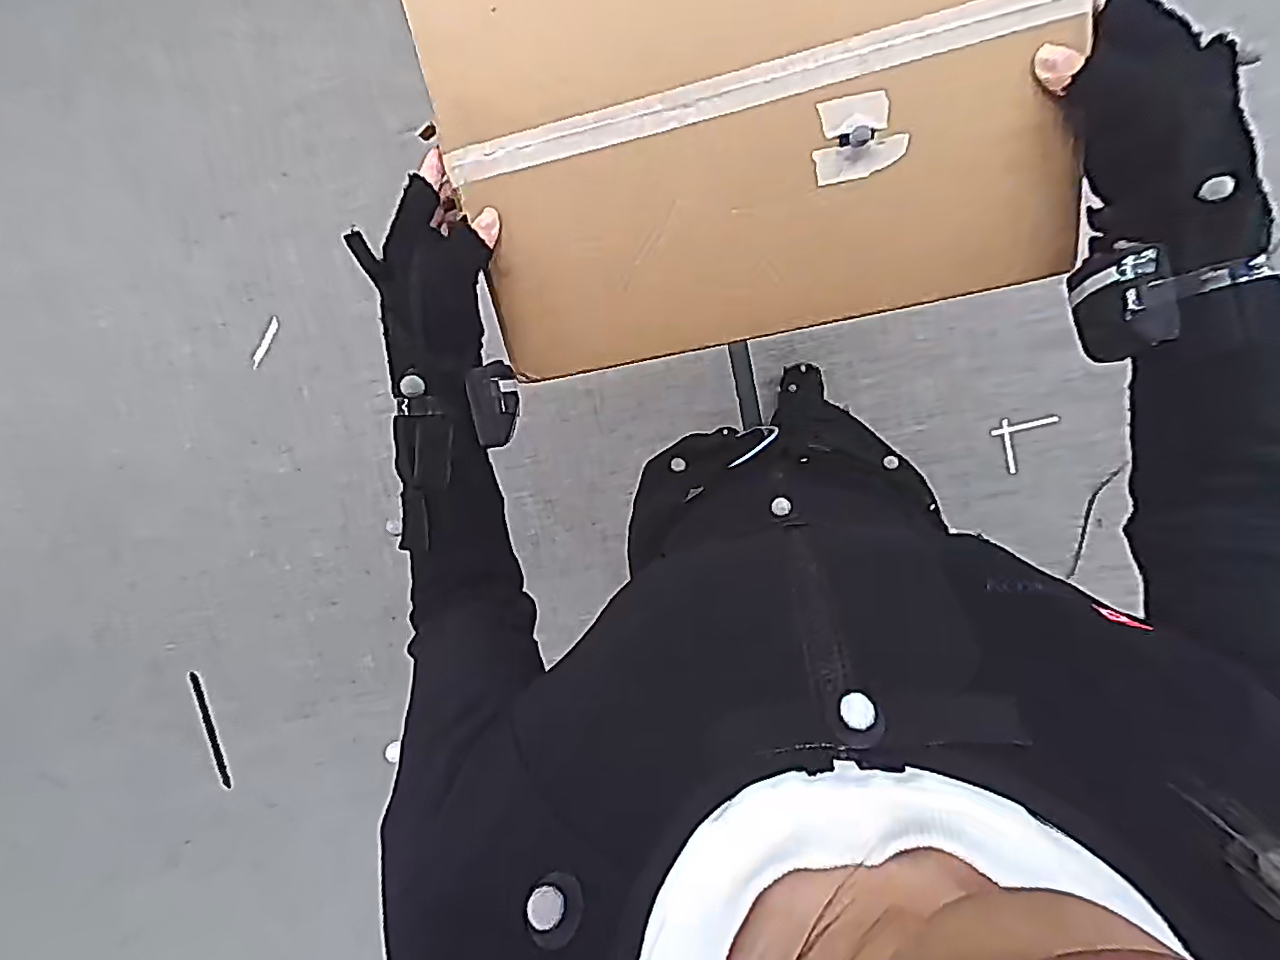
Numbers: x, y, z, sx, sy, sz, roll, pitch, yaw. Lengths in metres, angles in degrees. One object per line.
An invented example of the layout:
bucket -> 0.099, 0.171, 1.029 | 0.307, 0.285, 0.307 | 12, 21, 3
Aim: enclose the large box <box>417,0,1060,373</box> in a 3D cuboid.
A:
large box -> 0.077, -0.314, 0.502 | 0.408, 0.320, 0.320 | -10, 111, 9
